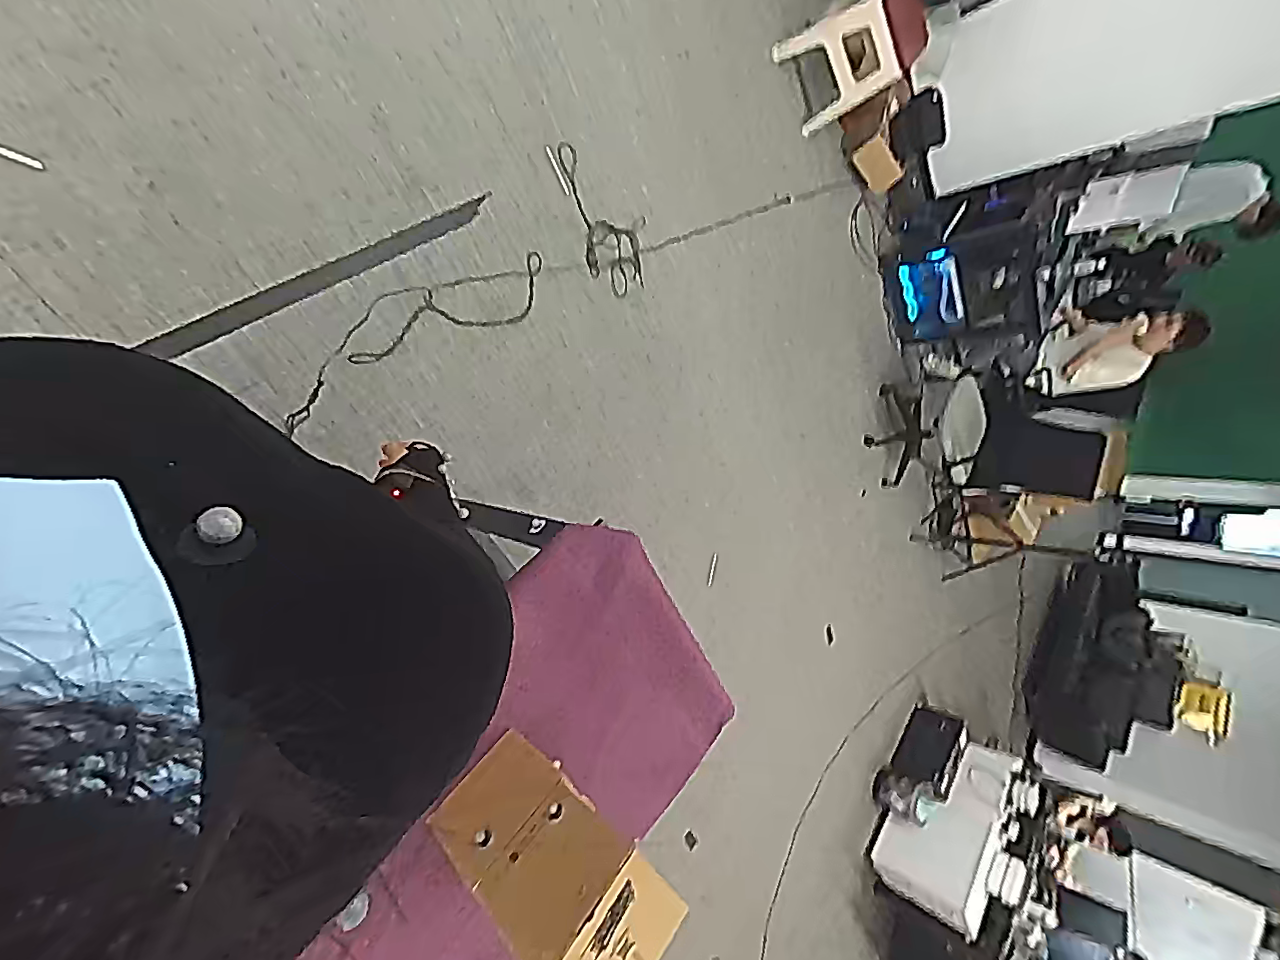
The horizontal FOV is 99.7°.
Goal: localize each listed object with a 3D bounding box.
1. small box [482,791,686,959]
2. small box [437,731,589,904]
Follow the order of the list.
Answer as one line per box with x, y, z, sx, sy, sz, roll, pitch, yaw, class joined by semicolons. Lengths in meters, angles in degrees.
-0.076;0.554;0.718;0.168;0.176;0.179;-45;122;-28;small box
-0.187;0.535;0.838;0.179;0.176;0.168;-44;121;-29;small box
